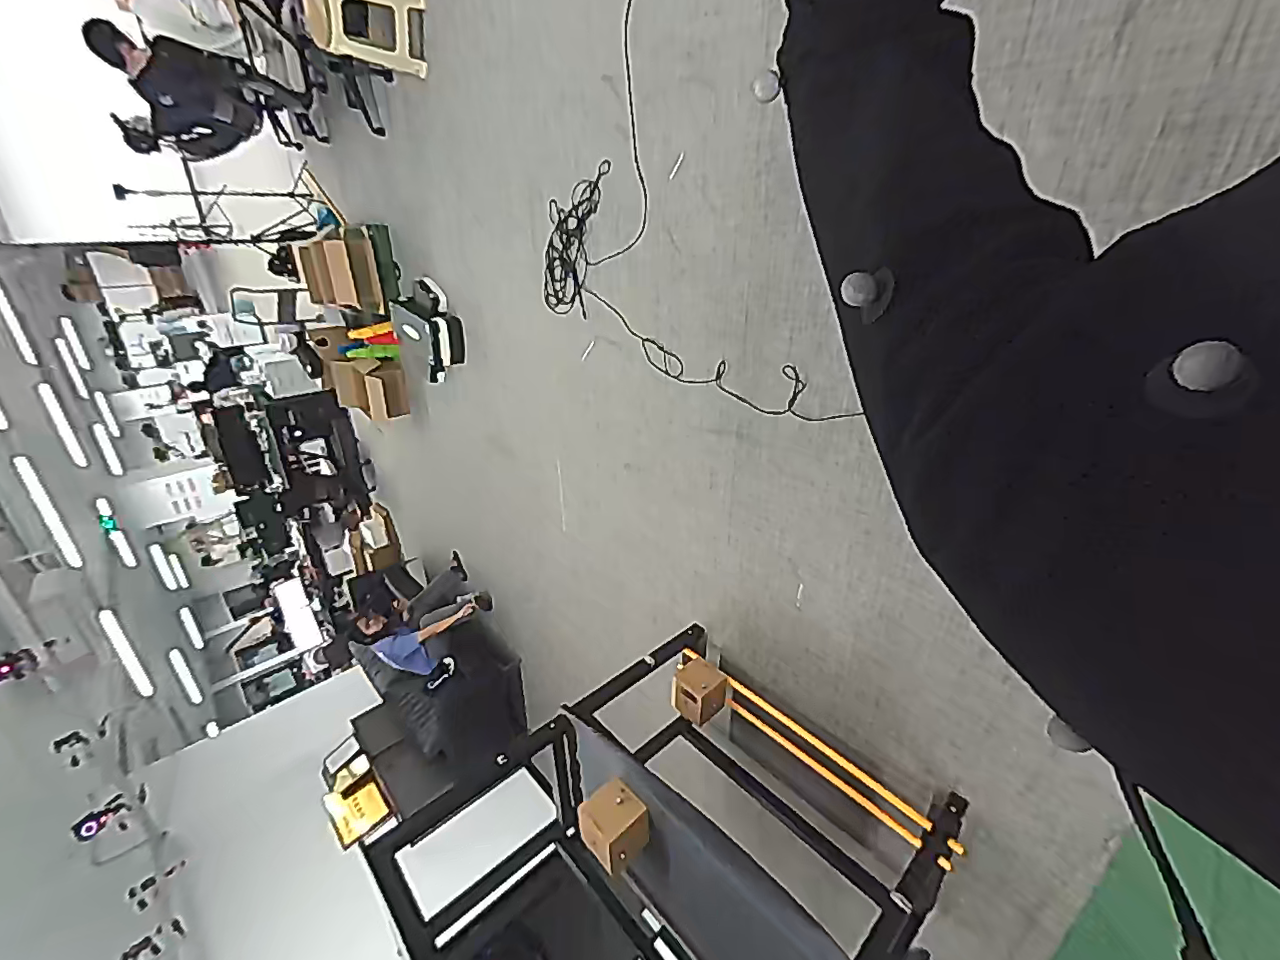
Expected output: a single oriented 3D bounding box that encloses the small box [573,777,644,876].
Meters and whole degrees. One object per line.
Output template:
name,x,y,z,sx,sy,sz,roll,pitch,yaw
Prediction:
small box,-0.099,1.134,1.778,0.168,0.176,0.179,23,125,42
